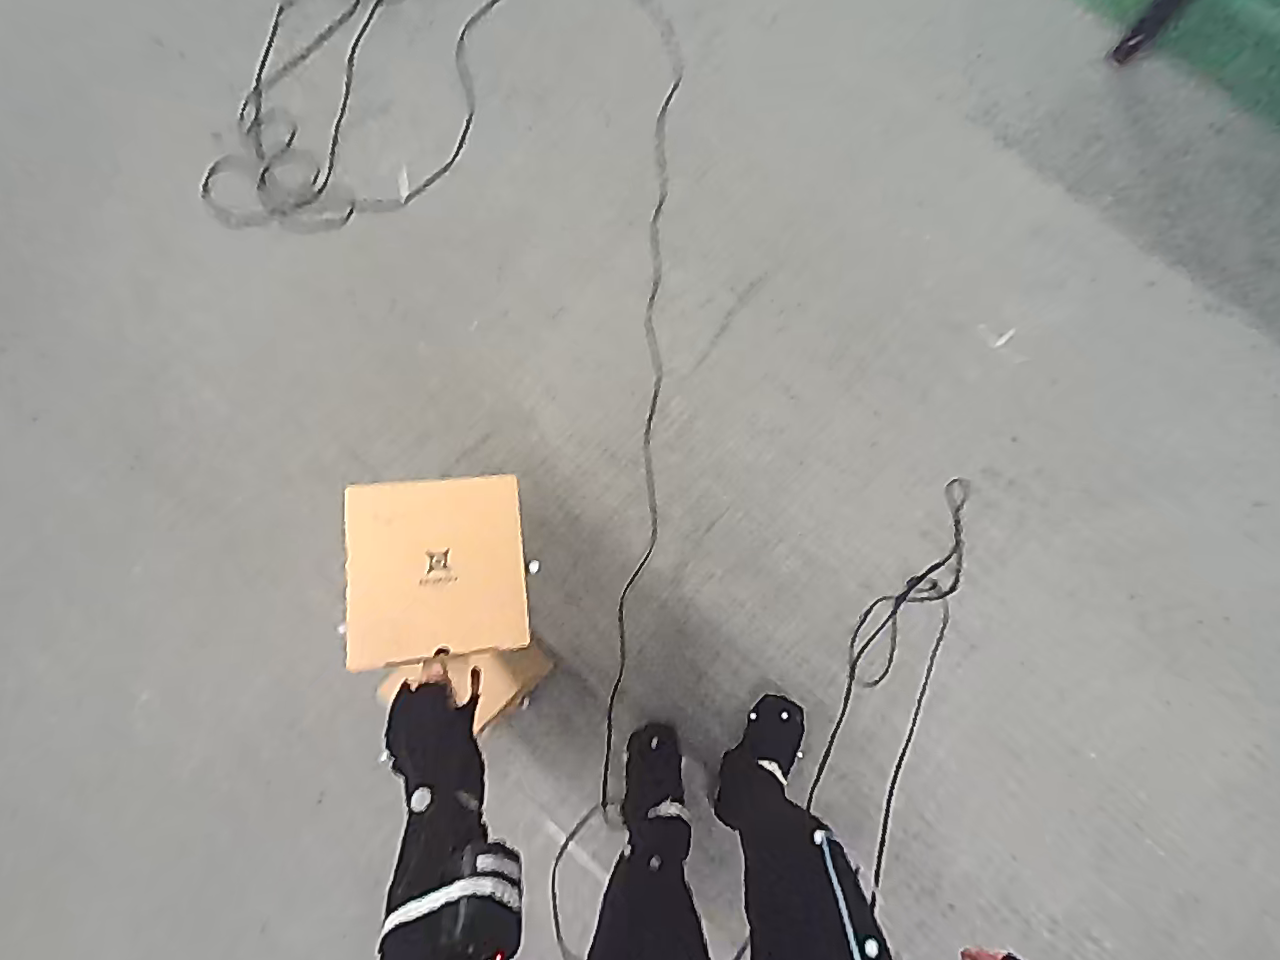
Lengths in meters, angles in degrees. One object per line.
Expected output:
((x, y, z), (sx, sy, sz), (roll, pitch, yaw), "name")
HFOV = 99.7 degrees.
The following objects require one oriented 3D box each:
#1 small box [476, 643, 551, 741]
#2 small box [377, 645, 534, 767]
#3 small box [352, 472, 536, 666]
((-0.305, 0.391, 1.114), (0.179, 0.176, 0.168), (44, 82, 7), "small box")
((-0.310, 0.356, 0.953), (0.179, 0.176, 0.168), (-44, 82, -8), "small box")
((-0.210, 0.098, 0.600), (0.168, 0.176, 0.179), (-4, 79, -15), "small box")
